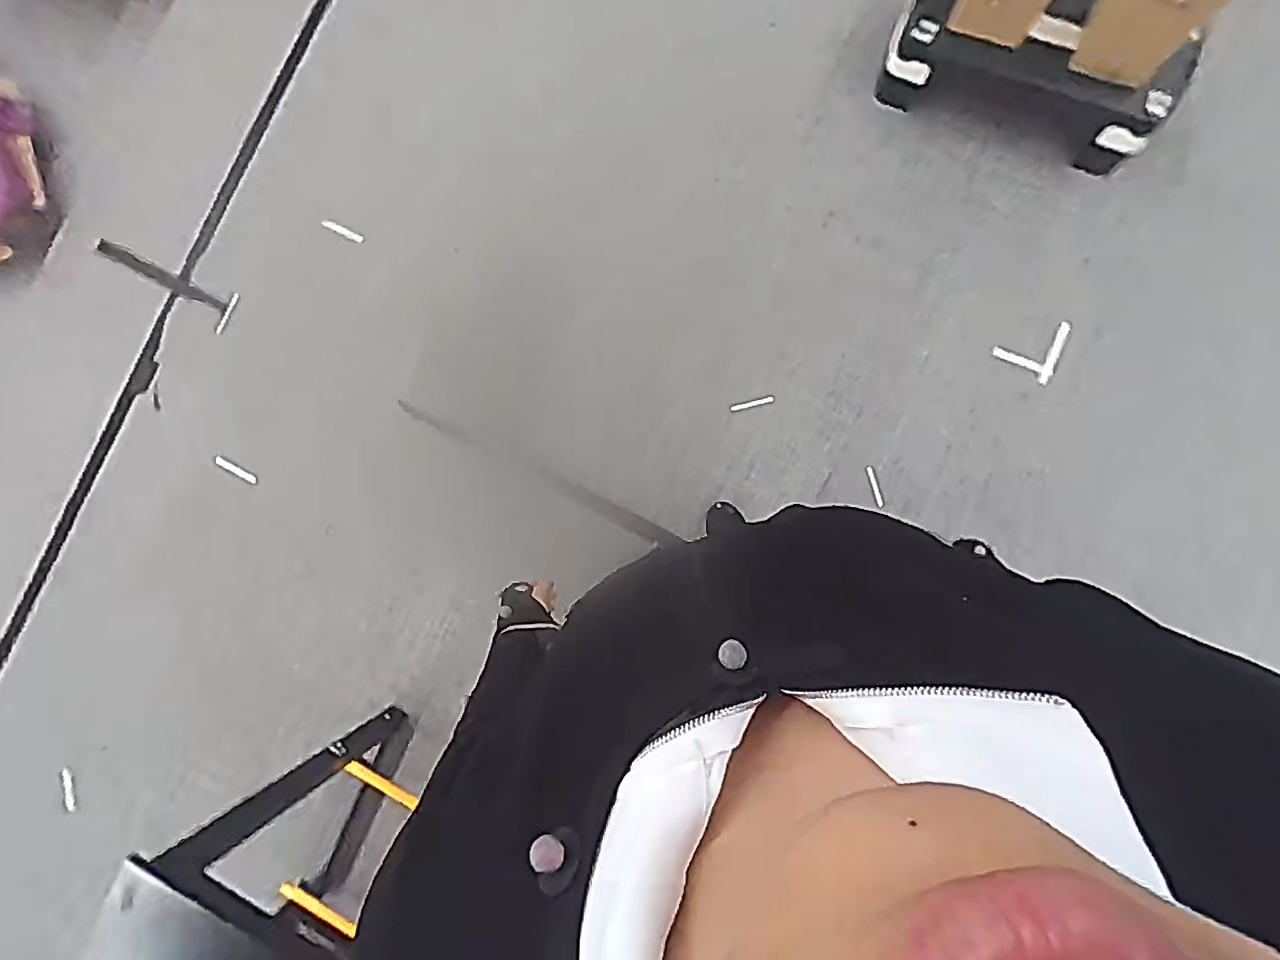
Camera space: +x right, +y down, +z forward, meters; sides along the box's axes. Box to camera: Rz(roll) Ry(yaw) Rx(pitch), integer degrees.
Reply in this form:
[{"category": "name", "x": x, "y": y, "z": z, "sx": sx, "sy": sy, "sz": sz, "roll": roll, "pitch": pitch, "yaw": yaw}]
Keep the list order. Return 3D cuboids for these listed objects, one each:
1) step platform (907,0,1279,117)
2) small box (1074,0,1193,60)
[{"category": "step platform", "x": 0.967, "y": -1.073, "z": 1.185, "sx": 0.684, "sy": 0.204, "sz": 0.286, "roll": 24, "pitch": 89, "yaw": 6}, {"category": "small box", "x": 1.105, "y": -1.051, "z": 1.205, "sx": 0.168, "sy": 0.176, "sz": 0.179, "roll": 23, "pitch": 89, "yaw": 8}]
